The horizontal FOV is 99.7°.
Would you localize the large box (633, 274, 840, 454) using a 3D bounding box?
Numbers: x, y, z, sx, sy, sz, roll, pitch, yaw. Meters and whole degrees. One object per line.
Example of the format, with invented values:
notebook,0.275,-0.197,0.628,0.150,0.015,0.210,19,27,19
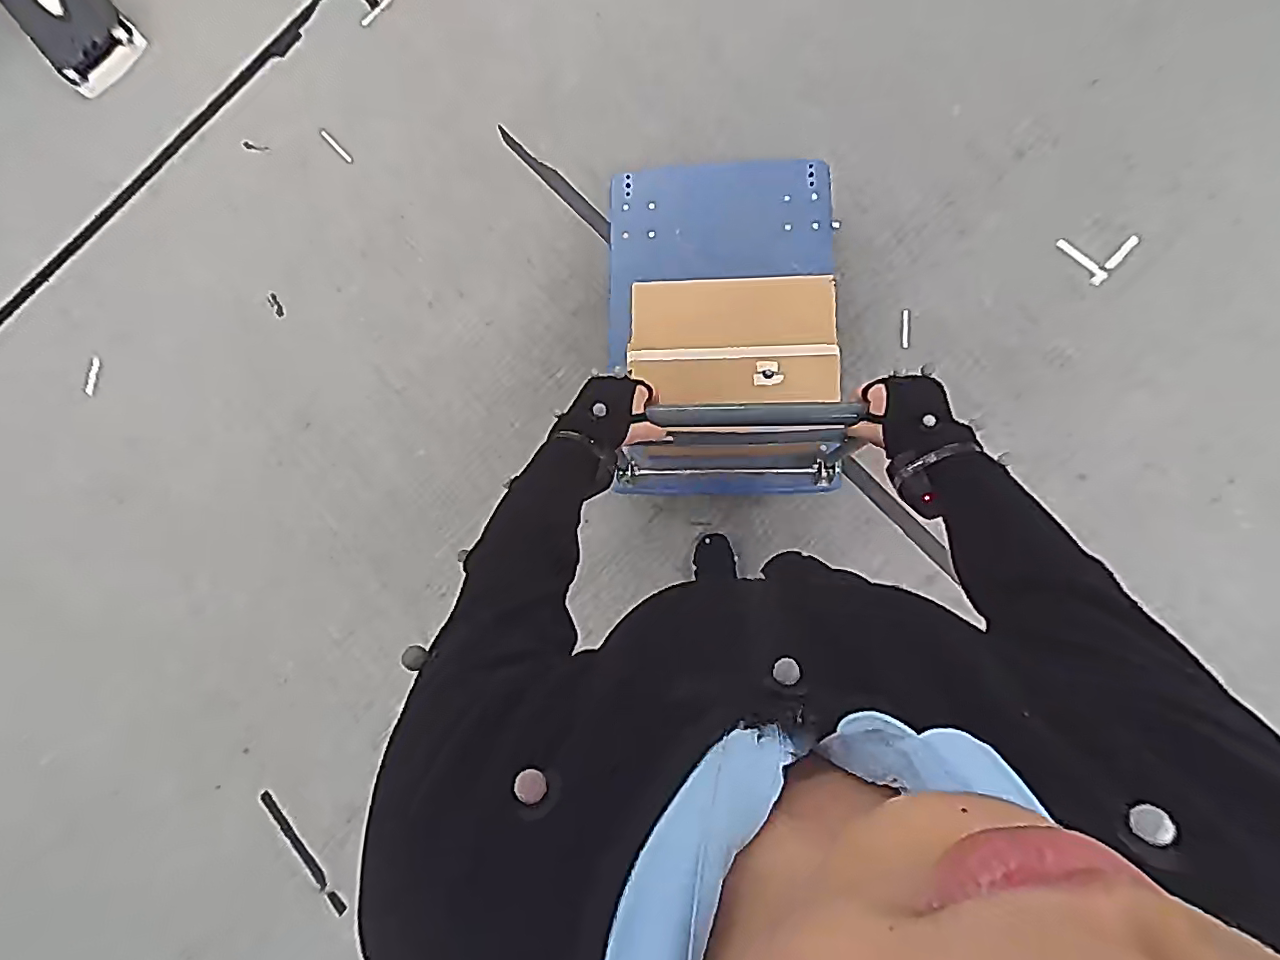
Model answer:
large box,0.196,-0.238,1.221,0.408,0.320,0.320,-1,84,4
